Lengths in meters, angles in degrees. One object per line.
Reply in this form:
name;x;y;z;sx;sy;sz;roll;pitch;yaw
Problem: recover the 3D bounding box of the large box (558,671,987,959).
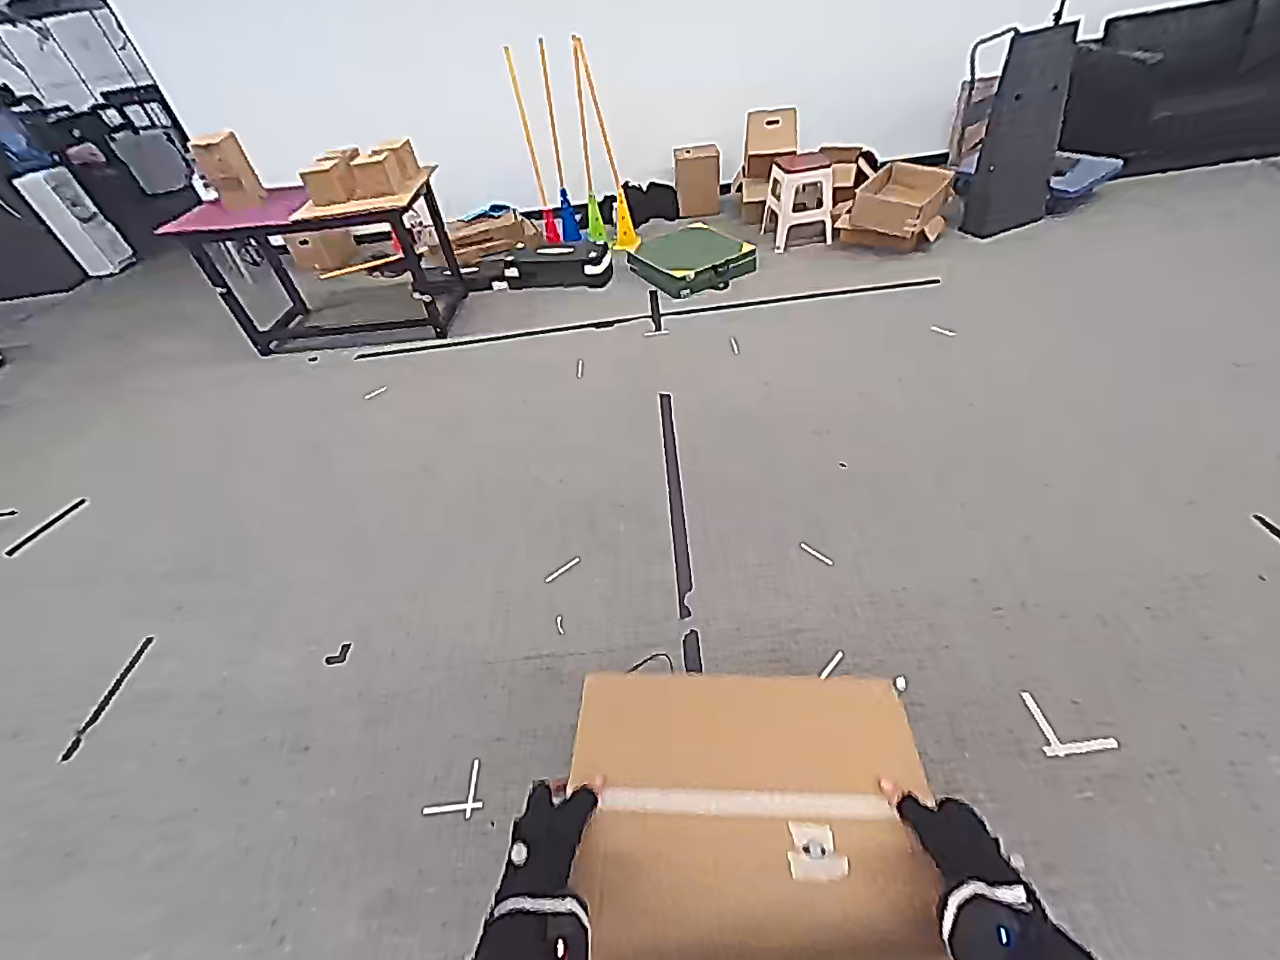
large box;0.133;0.472;0.702;0.408;0.320;0.320;-1;40;5
